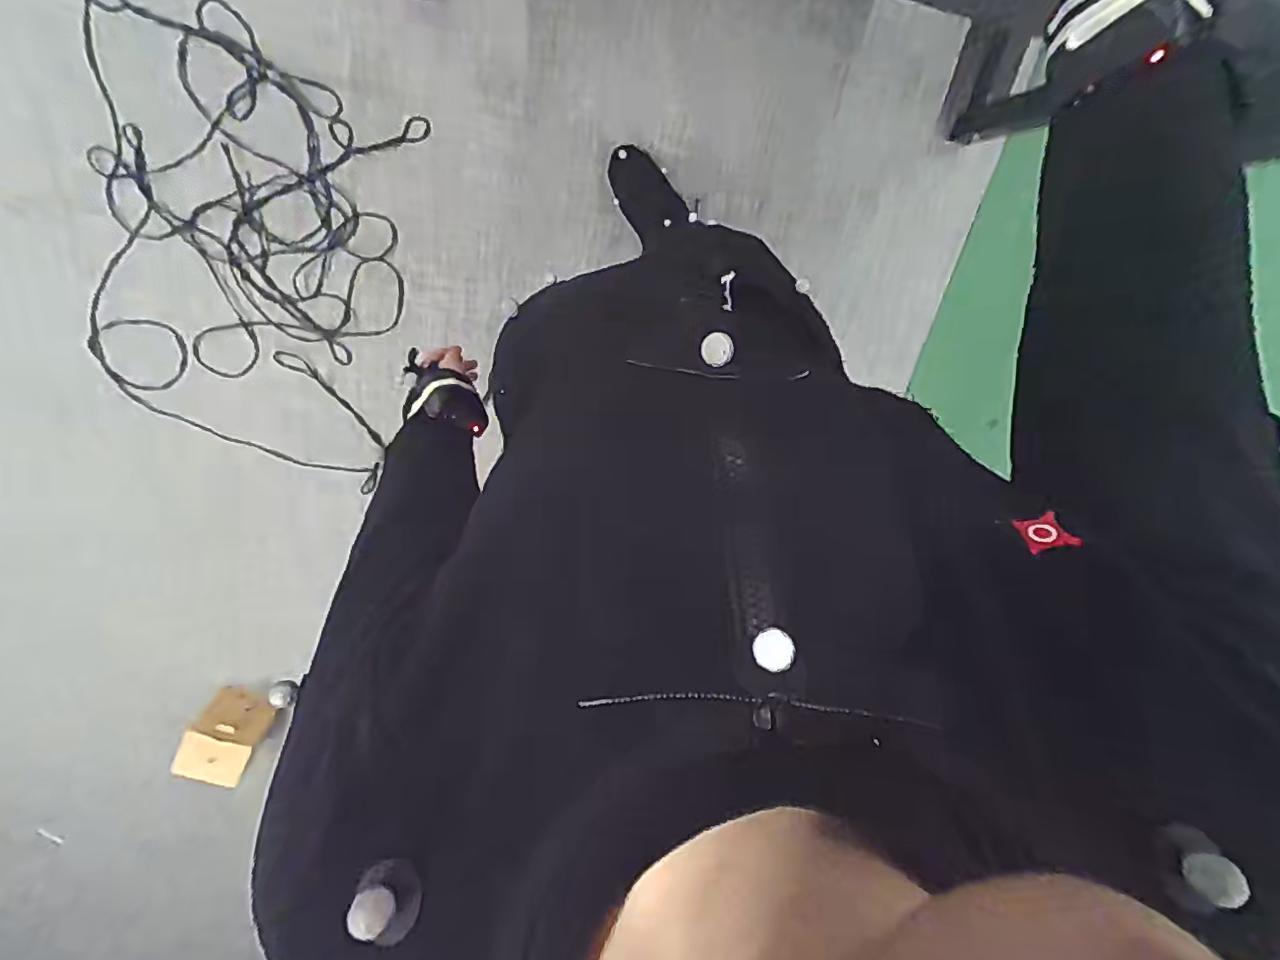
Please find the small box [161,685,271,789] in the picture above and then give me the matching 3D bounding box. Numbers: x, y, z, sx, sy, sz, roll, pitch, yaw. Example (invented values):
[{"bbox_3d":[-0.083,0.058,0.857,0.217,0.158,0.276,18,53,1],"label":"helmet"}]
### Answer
[{"bbox_3d":[-1.180,0.718,1.517,0.168,0.176,0.179,27,108,-17],"label":"small box"}]
